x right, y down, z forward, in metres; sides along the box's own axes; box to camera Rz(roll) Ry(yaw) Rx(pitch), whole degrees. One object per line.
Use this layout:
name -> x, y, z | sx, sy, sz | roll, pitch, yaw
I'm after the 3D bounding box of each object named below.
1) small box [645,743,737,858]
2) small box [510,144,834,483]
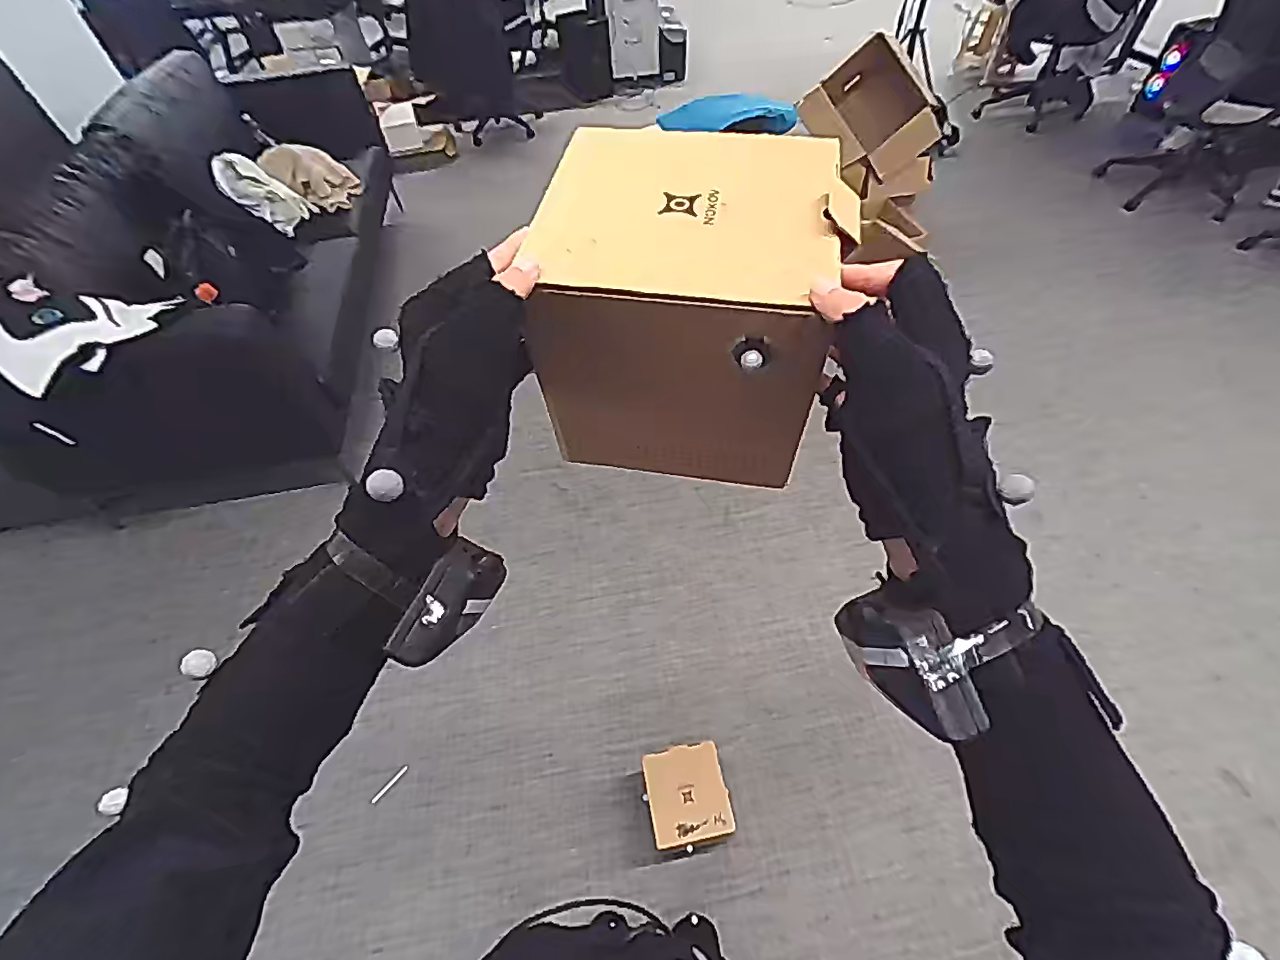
small box -> 0.106, 0.709, 1.192 | 0.168, 0.176, 0.179 | -10, 51, -4
small box -> 0.031, -0.113, 0.392 | 0.179, 0.176, 0.168 | 7, 58, 8
